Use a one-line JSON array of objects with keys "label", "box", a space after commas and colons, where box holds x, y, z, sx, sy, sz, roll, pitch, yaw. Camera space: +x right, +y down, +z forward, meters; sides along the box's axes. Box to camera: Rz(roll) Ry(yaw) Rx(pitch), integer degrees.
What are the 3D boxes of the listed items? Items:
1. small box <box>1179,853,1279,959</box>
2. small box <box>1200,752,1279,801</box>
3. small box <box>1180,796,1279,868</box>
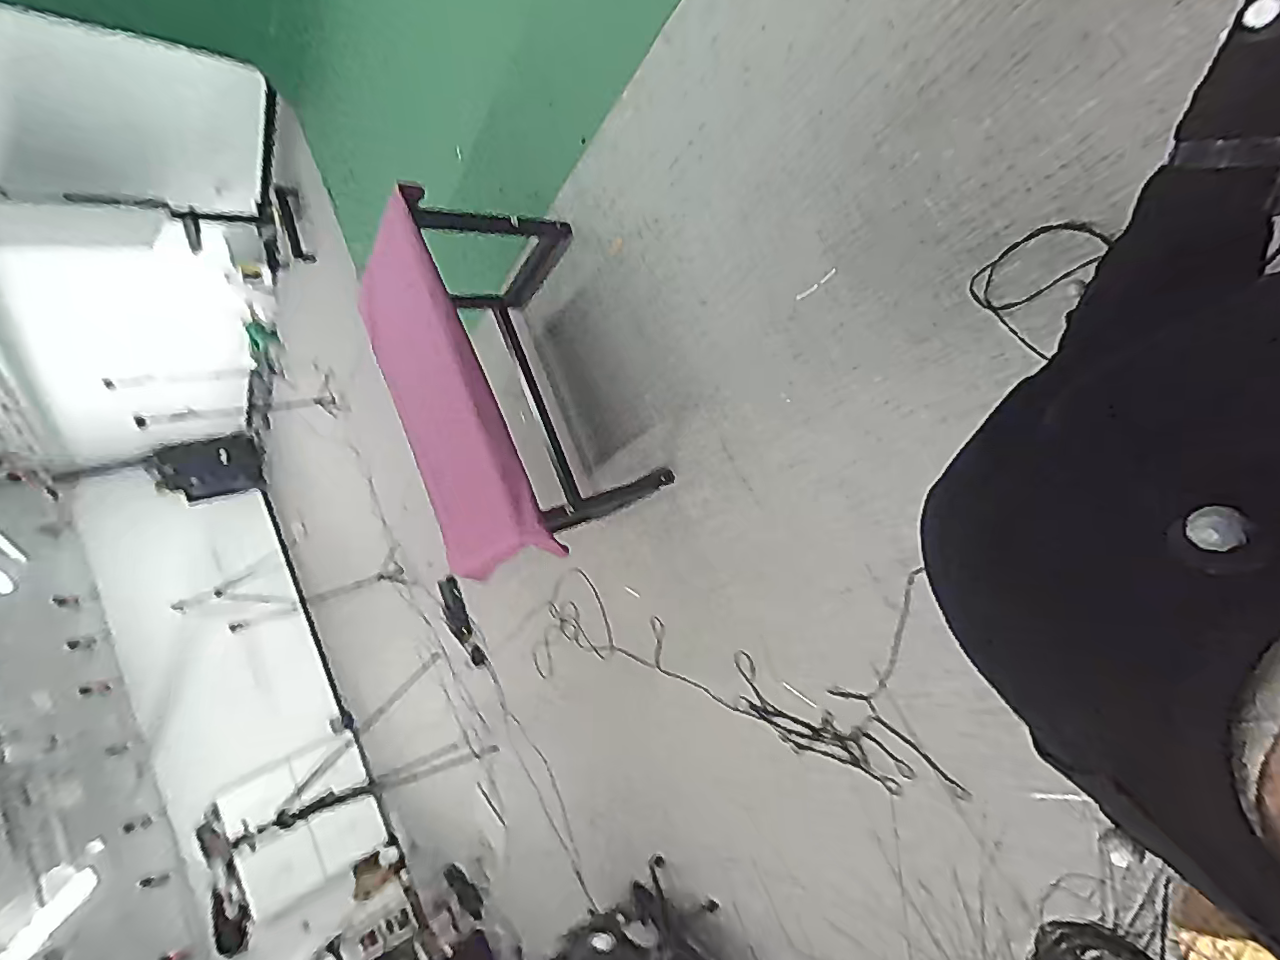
[{"label": "small box", "box": [0.877, 0.646, 0.719, 0.168, 0.176, 0.179, -35, 75, 47]}, {"label": "small box", "box": [1.119, 0.592, 0.932, 0.179, 0.176, 0.168, -32, 78, 48]}, {"label": "small box", "box": [0.993, 0.615, 0.831, 0.179, 0.176, 0.168, -35, 76, 48]}]
